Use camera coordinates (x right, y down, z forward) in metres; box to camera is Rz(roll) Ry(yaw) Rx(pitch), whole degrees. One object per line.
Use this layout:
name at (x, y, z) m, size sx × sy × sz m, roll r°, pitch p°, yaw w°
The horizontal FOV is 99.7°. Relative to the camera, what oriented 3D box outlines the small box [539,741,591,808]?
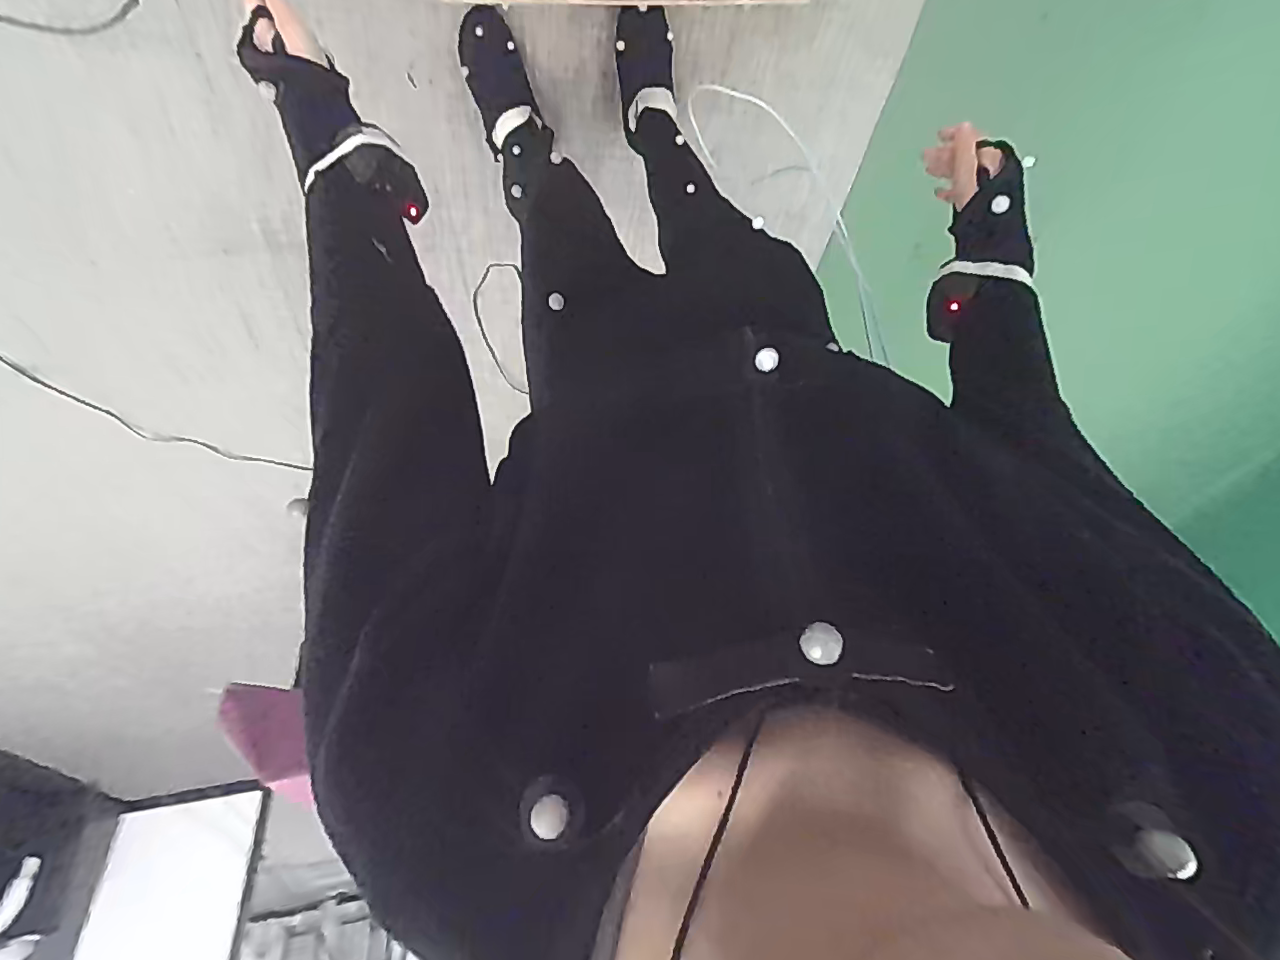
small box at (-0.278, 1.076, 1.978) m, size 0.179 × 0.176 × 0.168 m, roll -5°, pitch 141°, yaw -11°
